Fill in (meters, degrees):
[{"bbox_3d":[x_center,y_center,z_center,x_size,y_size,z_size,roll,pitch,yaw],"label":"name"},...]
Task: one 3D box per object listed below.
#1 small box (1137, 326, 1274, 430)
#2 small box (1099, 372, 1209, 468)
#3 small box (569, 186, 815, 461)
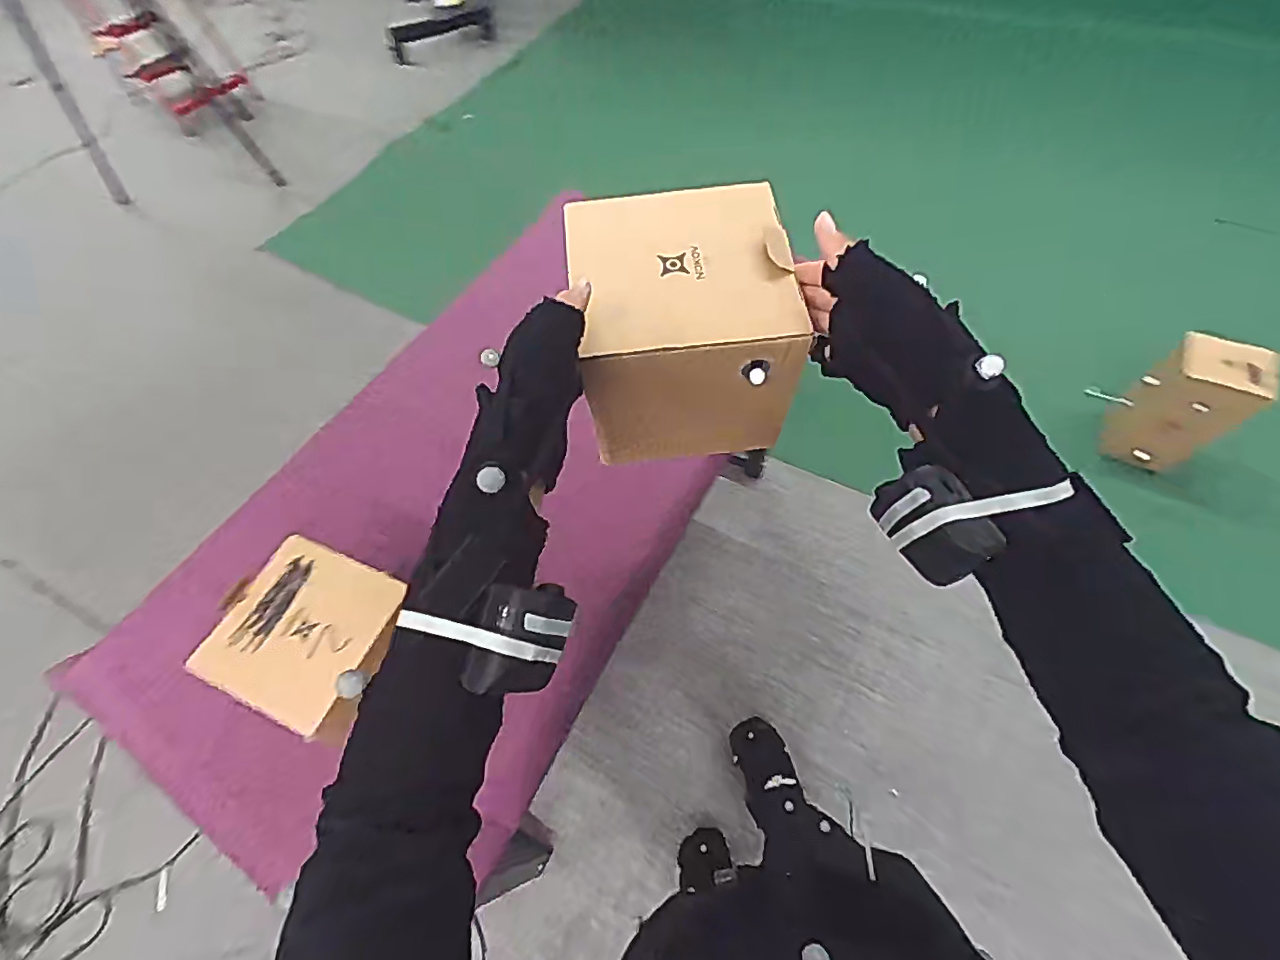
[{"bbox_3d":[1.433,-0.252,1.376,0.179,0.176,0.168,26,63,18],"label":"small box"},{"bbox_3d":[1.441,-0.167,1.520,0.168,0.176,0.179,23,64,18],"label":"small box"},{"bbox_3d":[0.038,-0.129,0.489,0.179,0.176,0.168,-6,64,0],"label":"small box"}]
